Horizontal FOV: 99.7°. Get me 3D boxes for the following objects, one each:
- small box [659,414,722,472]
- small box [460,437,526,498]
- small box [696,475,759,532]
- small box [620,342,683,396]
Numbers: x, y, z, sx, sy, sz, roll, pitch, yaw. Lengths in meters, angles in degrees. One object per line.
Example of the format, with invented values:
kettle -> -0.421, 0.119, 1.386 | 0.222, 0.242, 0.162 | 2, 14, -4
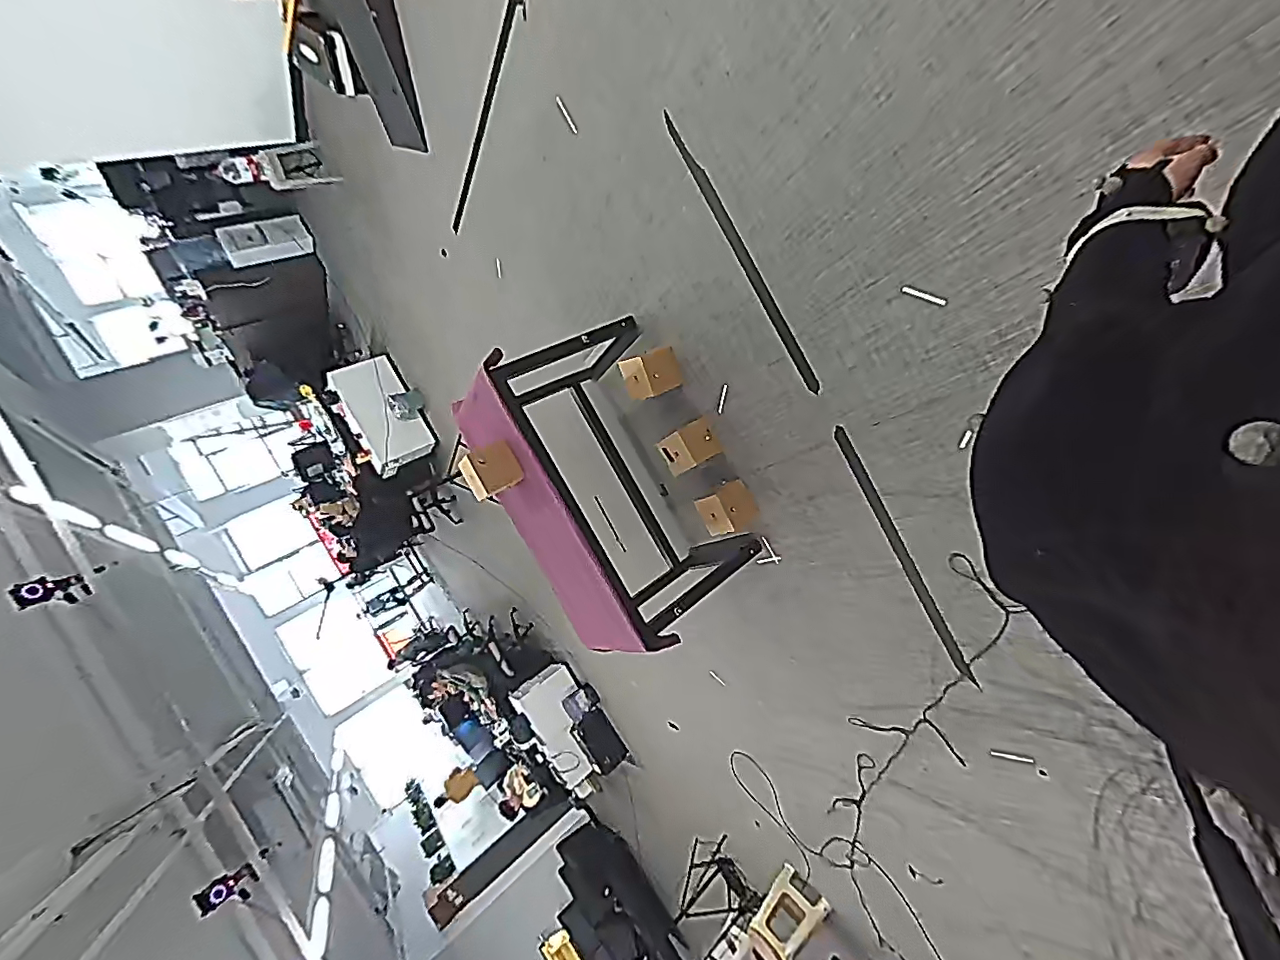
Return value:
small box -> 0.219, -0.159, 2.319 | 0.168, 0.176, 0.179 | 60, 148, -1
small box -> -0.581, -0.054, 2.138 | 0.179, 0.176, 0.168 | 61, 150, -4
small box -> 0.379, 0.101, 2.315 | 0.168, 0.176, 0.179 | -22, 97, 58
small box -> 0.051, -0.473, 2.294 | 0.168, 0.176, 0.179 | 3, 120, 54
